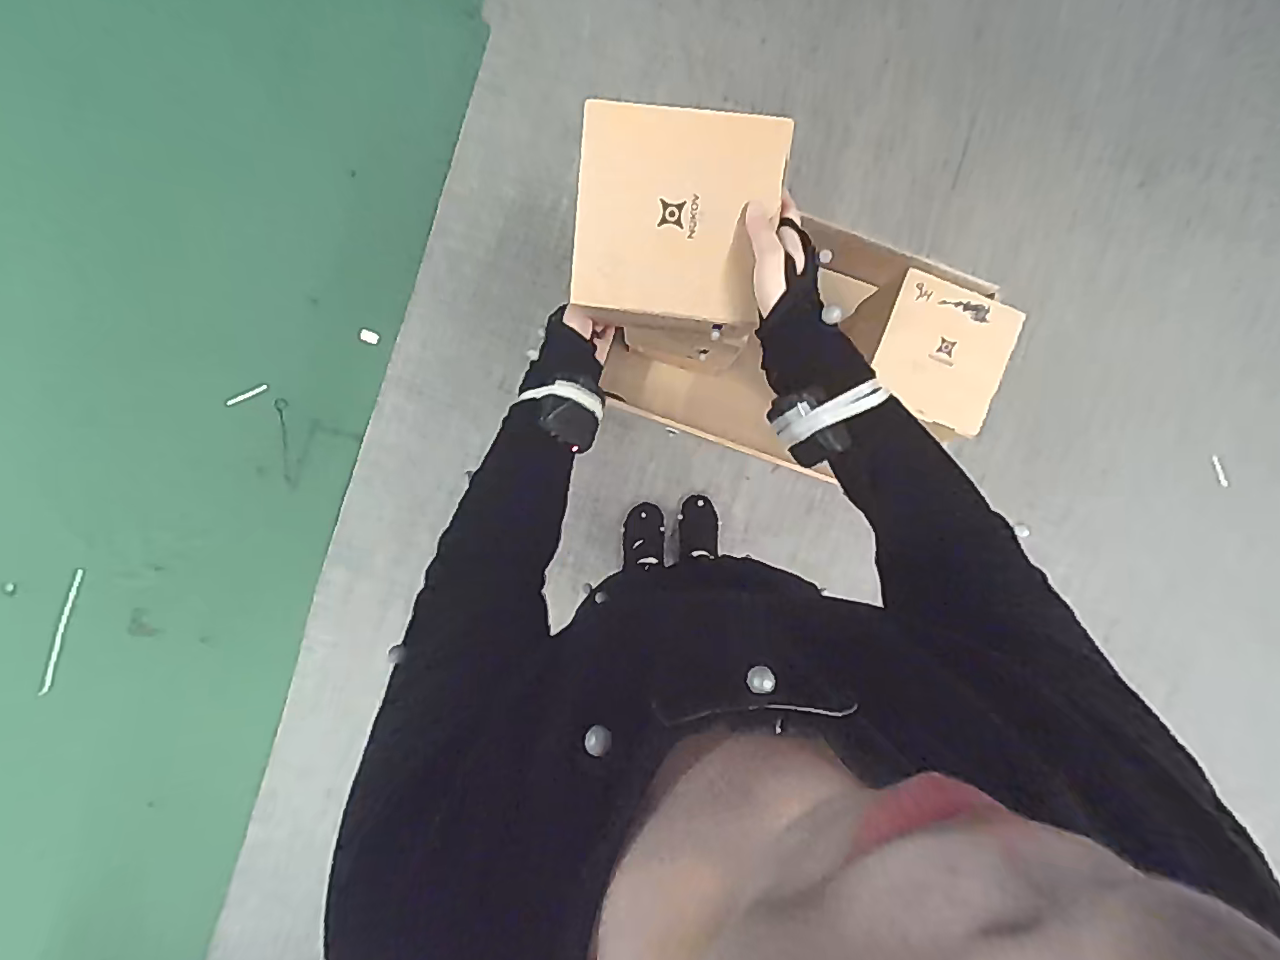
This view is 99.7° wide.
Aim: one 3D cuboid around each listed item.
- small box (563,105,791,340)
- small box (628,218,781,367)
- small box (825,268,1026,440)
[{"bbox_3d":[0.032,-0.233,0.532,0.179,0.176,0.168,7,102,1],"label":"small box"},{"bbox_3d":[0.079,-0.273,0.767,0.168,0.176,0.179,15,91,-1],"label":"small box"},{"bbox_3d":[0.386,-0.164,0.769,0.168,0.176,0.179,22,93,-1],"label":"small box"}]
